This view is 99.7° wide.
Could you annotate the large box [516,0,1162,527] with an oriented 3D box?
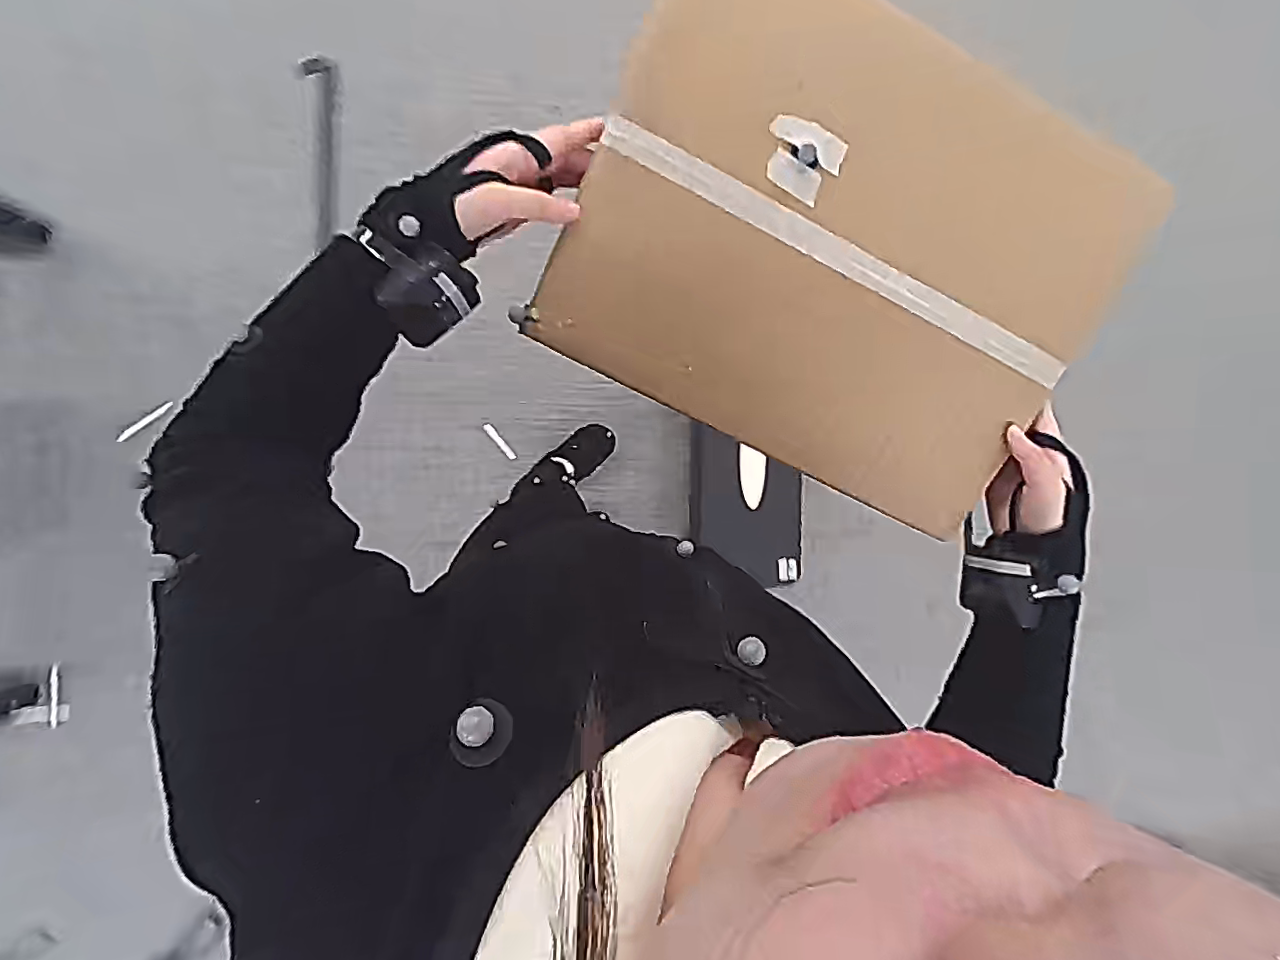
[{"bbox_3d":[0.144,-0.205,0.553,0.408,0.320,0.320,24,103,-7],"label":"large box"}]
